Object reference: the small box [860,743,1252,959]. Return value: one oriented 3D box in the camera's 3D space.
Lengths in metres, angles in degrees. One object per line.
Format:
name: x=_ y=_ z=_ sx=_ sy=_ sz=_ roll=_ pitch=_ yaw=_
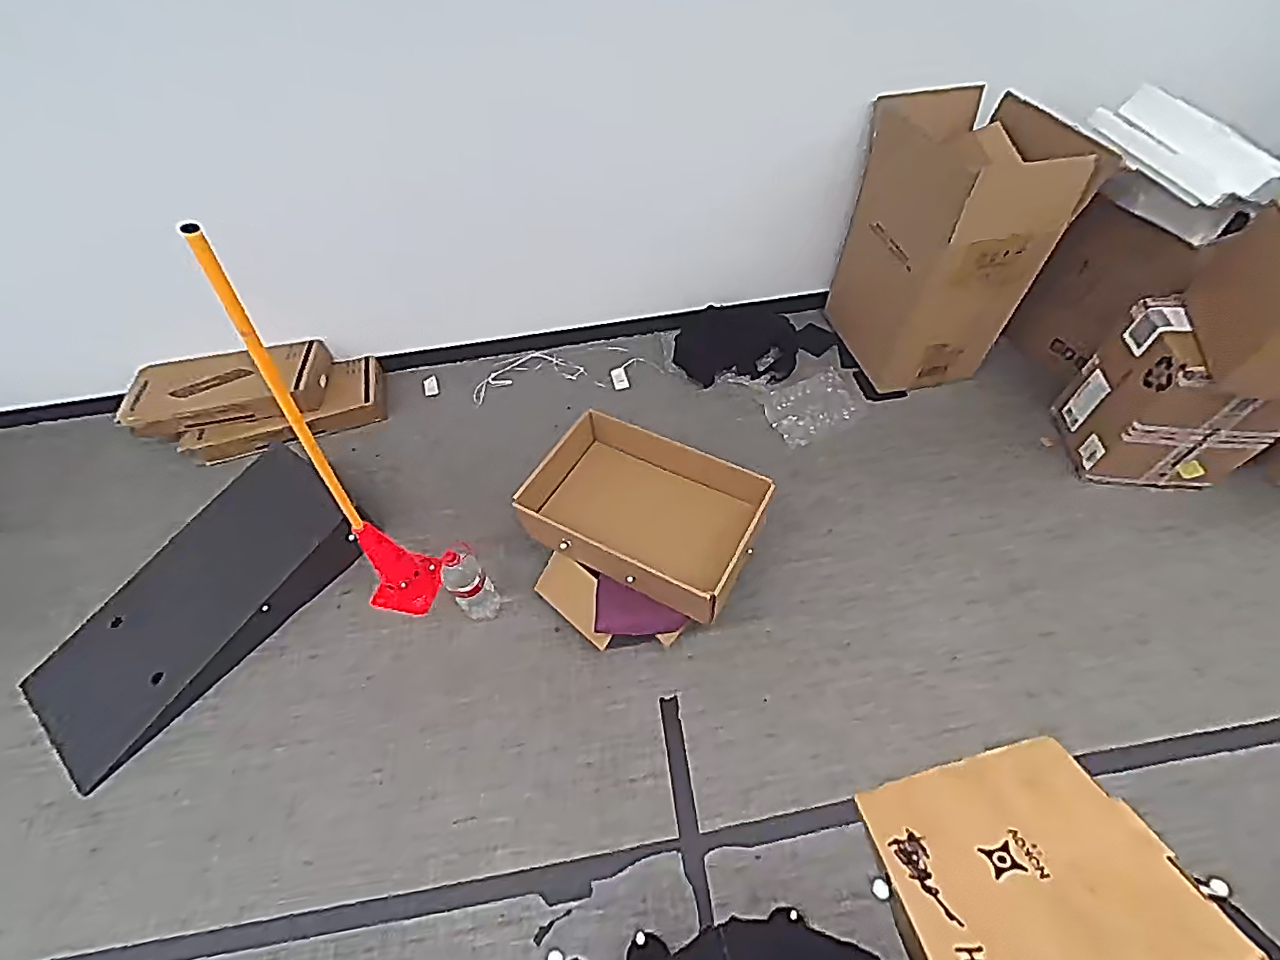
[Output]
small box: x=0.302 y=0.351 z=0.422 sx=0.179 sy=0.176 sz=0.168 roll=-19 pitch=17 yaw=5
